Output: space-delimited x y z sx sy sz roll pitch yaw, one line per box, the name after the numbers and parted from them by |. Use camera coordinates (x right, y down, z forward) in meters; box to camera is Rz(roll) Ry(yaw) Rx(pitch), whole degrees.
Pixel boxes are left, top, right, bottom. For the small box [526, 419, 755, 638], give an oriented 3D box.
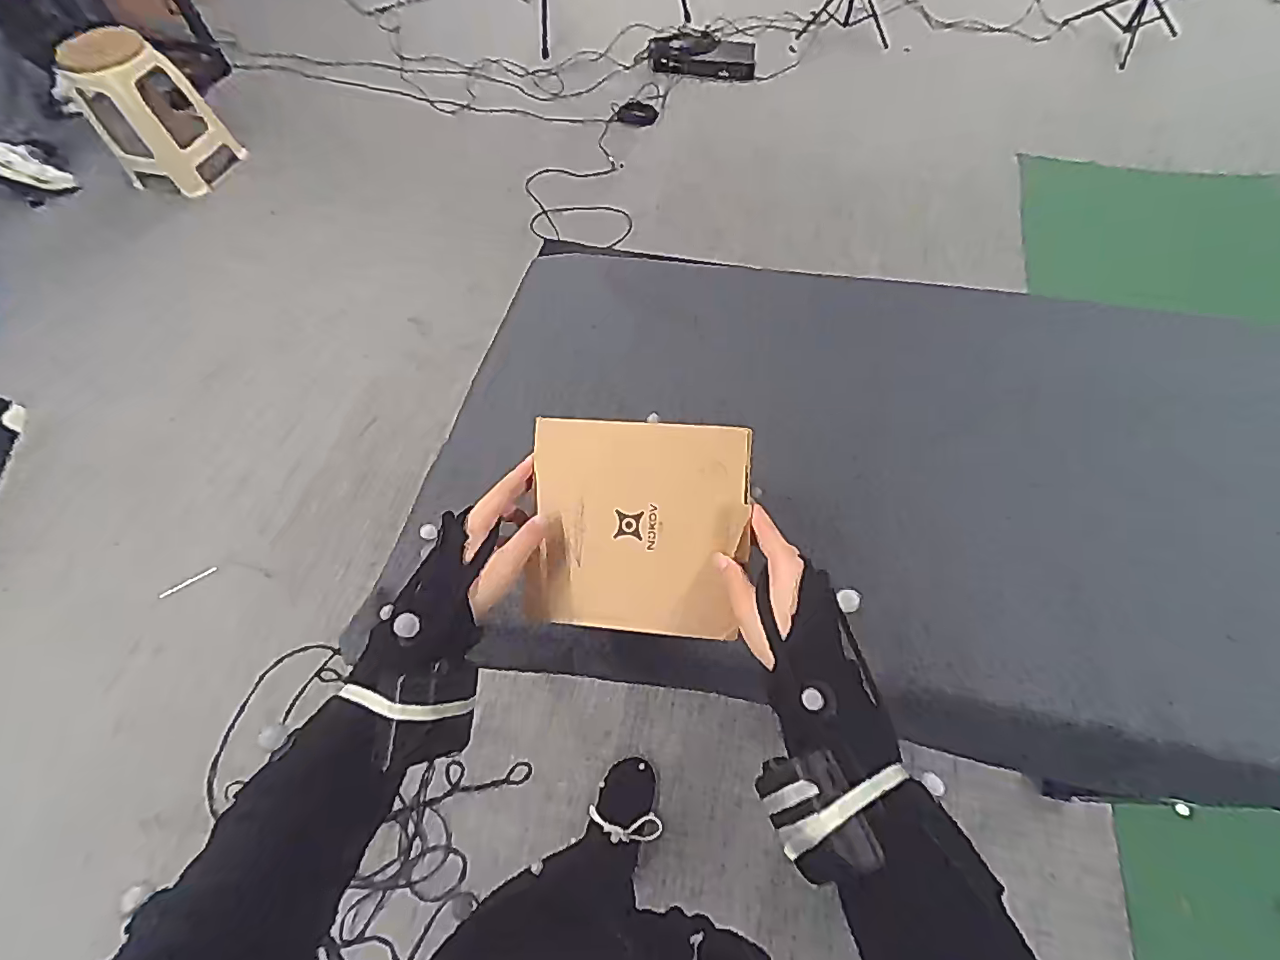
0.011 0.043 0.507 0.179 0.176 0.168 3 84 9 | small box
